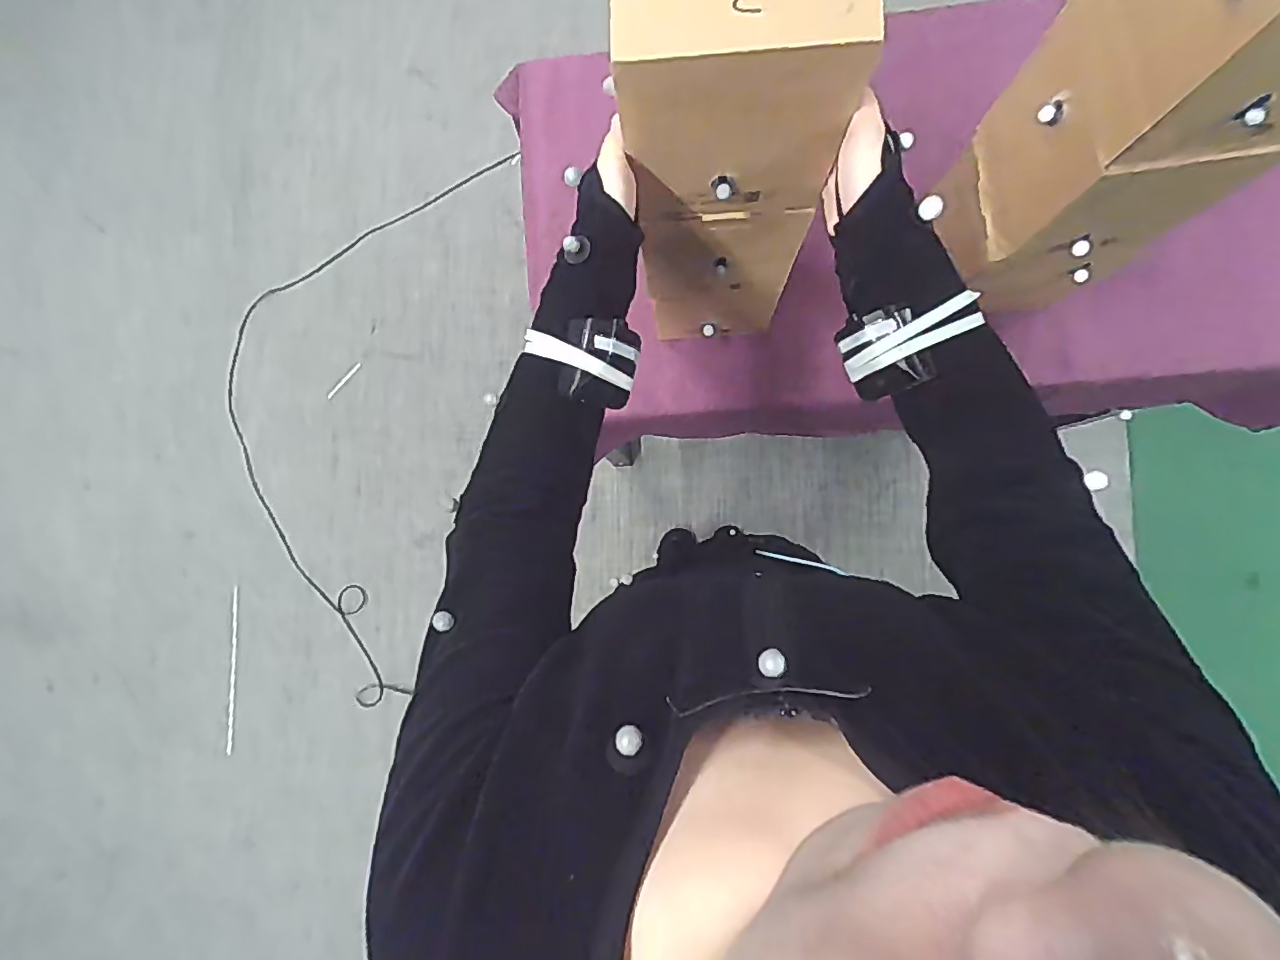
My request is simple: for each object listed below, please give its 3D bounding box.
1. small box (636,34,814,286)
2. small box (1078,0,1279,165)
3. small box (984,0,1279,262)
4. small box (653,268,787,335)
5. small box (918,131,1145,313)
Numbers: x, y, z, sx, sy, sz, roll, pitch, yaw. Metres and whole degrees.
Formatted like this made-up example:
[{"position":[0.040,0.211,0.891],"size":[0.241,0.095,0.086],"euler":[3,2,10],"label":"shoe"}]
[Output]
[{"position":[0.085,-0.322,0.584],"size":[0.168,0.176,0.179],"euler":[-2,86,4],"label":"small box"},{"position":[0.466,-0.372,0.392],"size":[0.168,0.176,0.179],"euler":[-7,85,5],"label":"small box"},{"position":[0.484,-0.352,0.553],"size":[0.168,0.176,0.179],"euler":[-5,85,5],"label":"small box"},{"position":[0.102,-0.316,0.747],"size":[0.168,0.176,0.179],"euler":[-2,86,5],"label":"small box"},{"position":[0.499,-0.335,0.714],"size":[0.179,0.176,0.168],"euler":[-4,84,5],"label":"small box"}]
